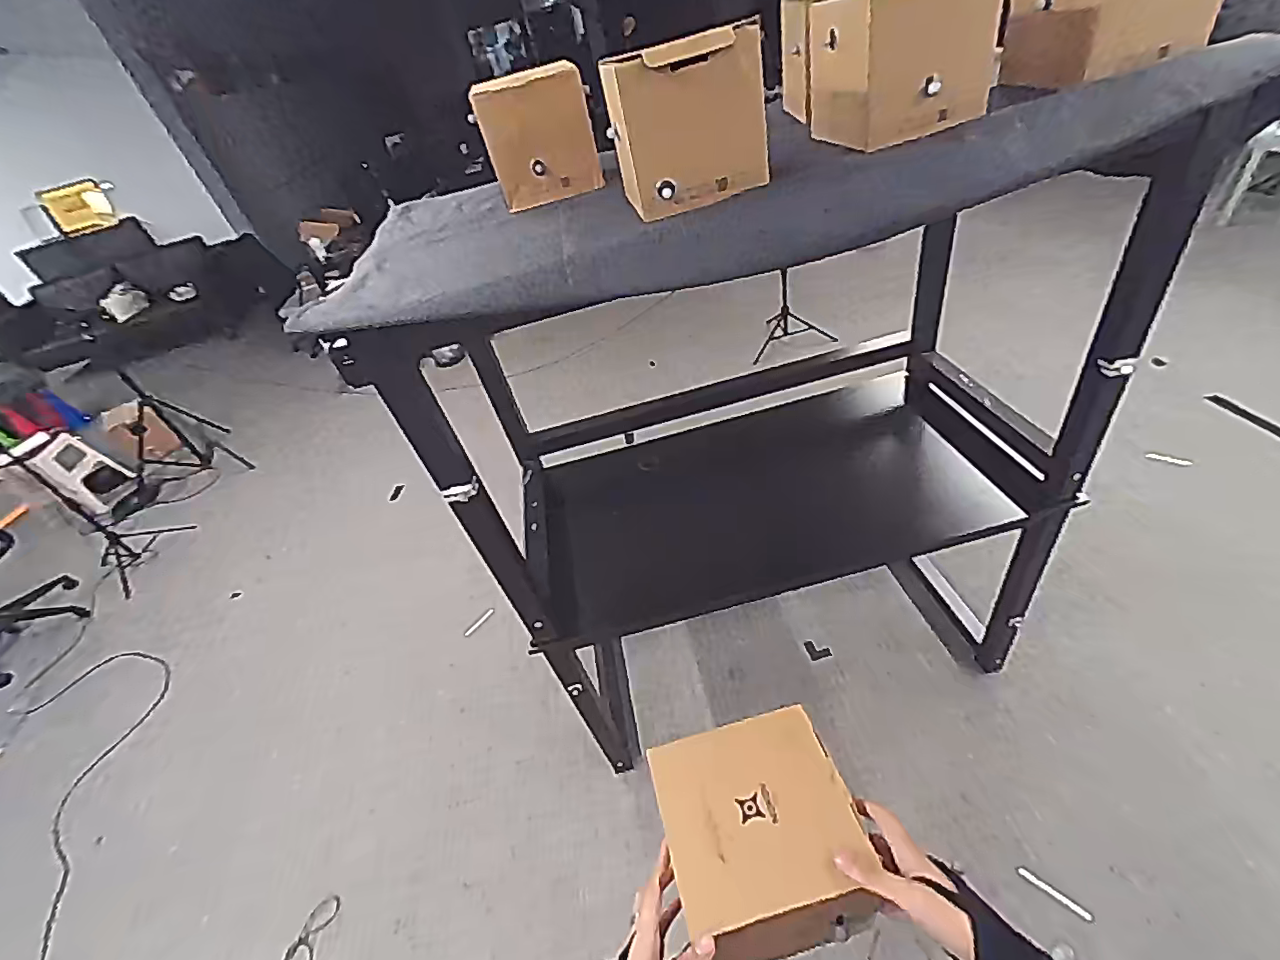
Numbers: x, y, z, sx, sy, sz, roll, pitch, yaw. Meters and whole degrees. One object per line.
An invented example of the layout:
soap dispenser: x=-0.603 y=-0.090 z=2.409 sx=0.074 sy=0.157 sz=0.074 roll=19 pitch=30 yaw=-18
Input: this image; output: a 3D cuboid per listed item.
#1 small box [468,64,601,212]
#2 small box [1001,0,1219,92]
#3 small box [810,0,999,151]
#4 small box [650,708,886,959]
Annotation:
small box: x=-0.172 y=-0.568 z=0.901 sx=0.168 sy=0.176 sz=0.179 roll=-17 pitch=41 yaw=-1
small box: x=0.628 y=-0.643 z=0.727 sx=0.168 sy=0.176 sz=0.179 roll=-15 pitch=39 yaw=2
small box: x=0.340 y=-0.562 z=0.728 sx=0.168 sy=0.176 sz=0.179 roll=-16 pitch=39 yaw=0
small box: x=0.120 y=0.370 z=0.553 sx=0.179 sy=0.176 sz=0.168 roll=-15 pitch=36 yaw=-3
